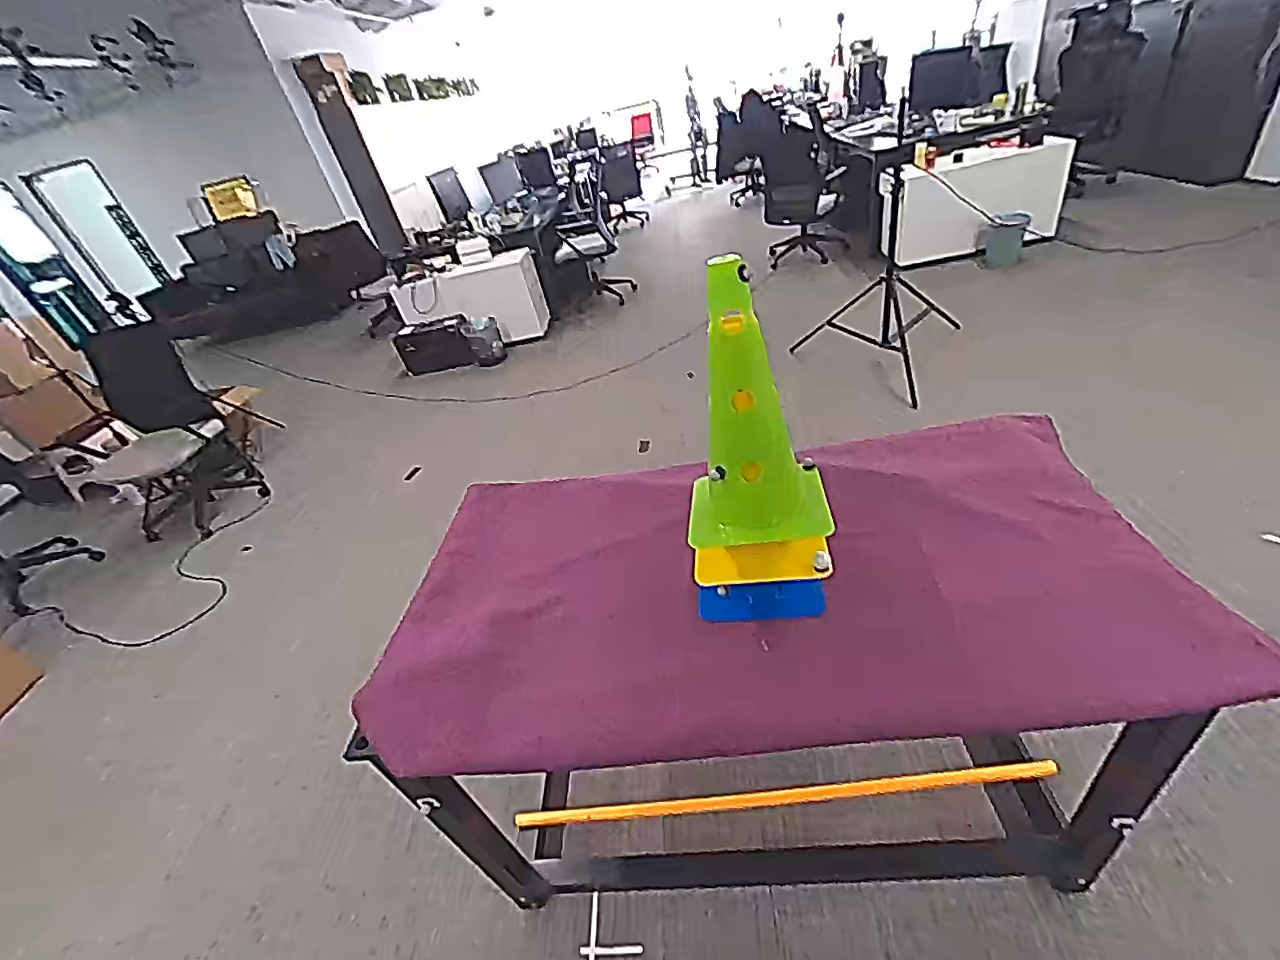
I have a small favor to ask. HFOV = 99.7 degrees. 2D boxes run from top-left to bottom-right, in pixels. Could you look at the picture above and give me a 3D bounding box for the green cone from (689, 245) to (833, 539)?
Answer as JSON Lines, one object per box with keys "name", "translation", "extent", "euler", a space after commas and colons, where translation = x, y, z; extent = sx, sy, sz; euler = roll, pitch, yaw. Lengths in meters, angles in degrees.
{"name": "green cone", "translation": [0.136, -0.123, 0.735], "extent": [0.200, 0.368, 0.202], "euler": [-8, 29, 13]}
